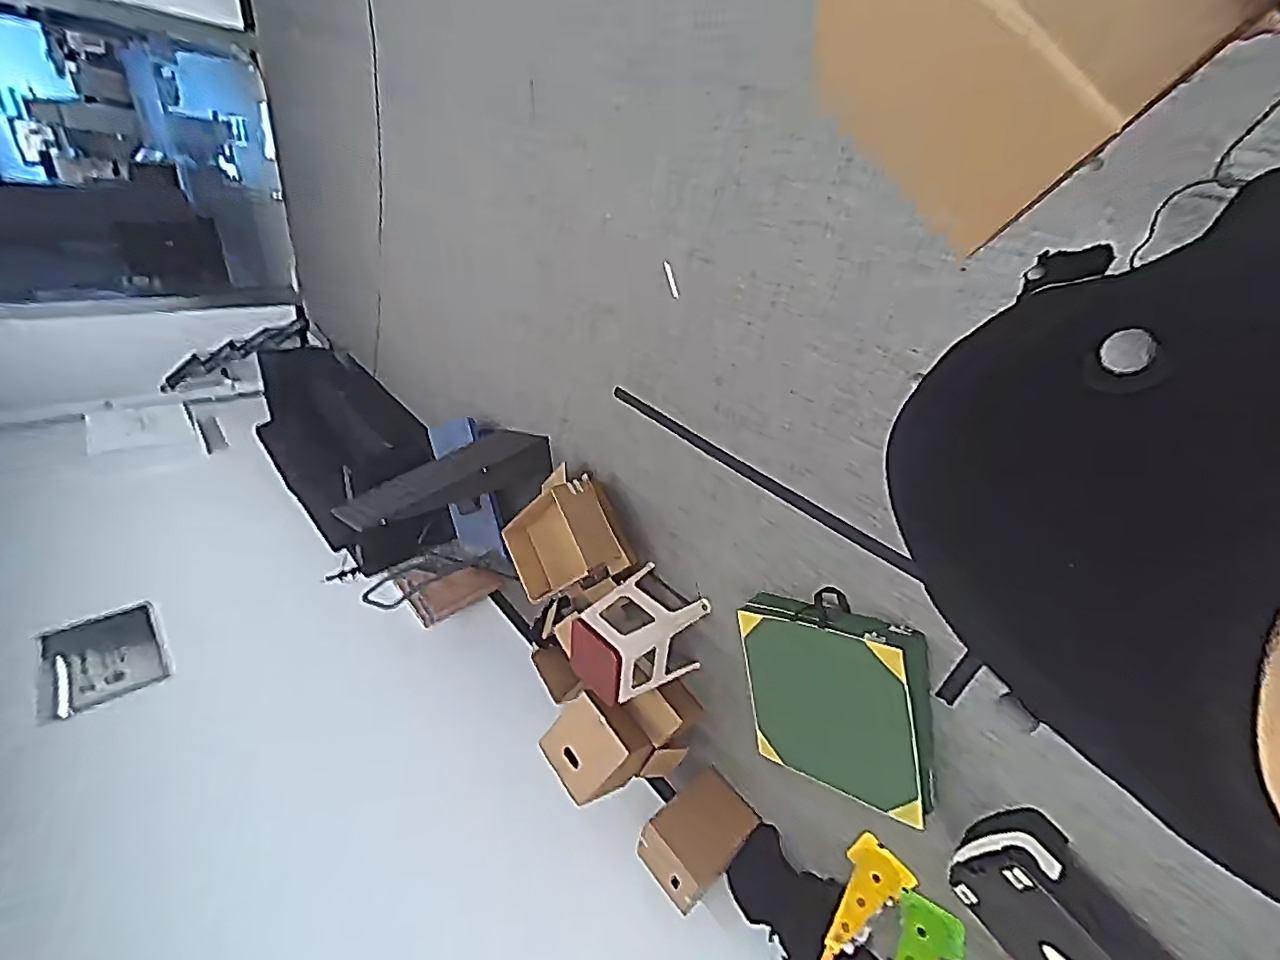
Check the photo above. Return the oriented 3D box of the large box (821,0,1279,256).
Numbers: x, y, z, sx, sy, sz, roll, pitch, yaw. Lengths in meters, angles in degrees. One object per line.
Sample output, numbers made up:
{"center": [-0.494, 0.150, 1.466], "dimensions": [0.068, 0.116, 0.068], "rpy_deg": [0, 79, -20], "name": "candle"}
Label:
{"center": [0.401, -0.488, 0.536], "dimensions": [0.320, 0.408, 0.320], "rpy_deg": [-40, 86, 19], "name": "large box"}
